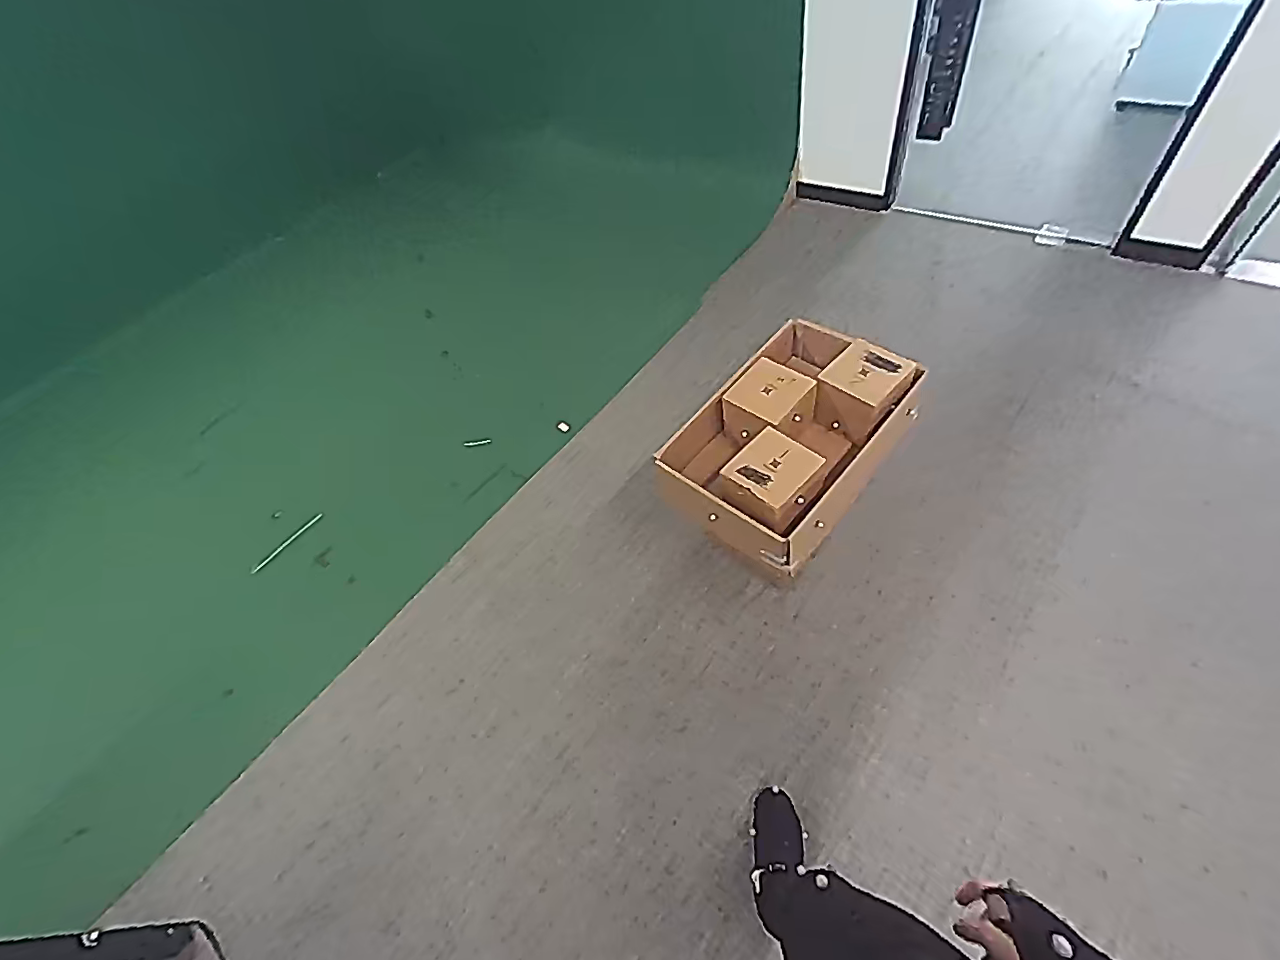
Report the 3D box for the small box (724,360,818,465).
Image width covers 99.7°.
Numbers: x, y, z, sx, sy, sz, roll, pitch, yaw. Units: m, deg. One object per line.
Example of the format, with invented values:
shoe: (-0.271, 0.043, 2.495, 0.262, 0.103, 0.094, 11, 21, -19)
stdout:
small box: (0.339, -0.172, 1.402, 0.168, 0.176, 0.179, 35, 70, 29)
